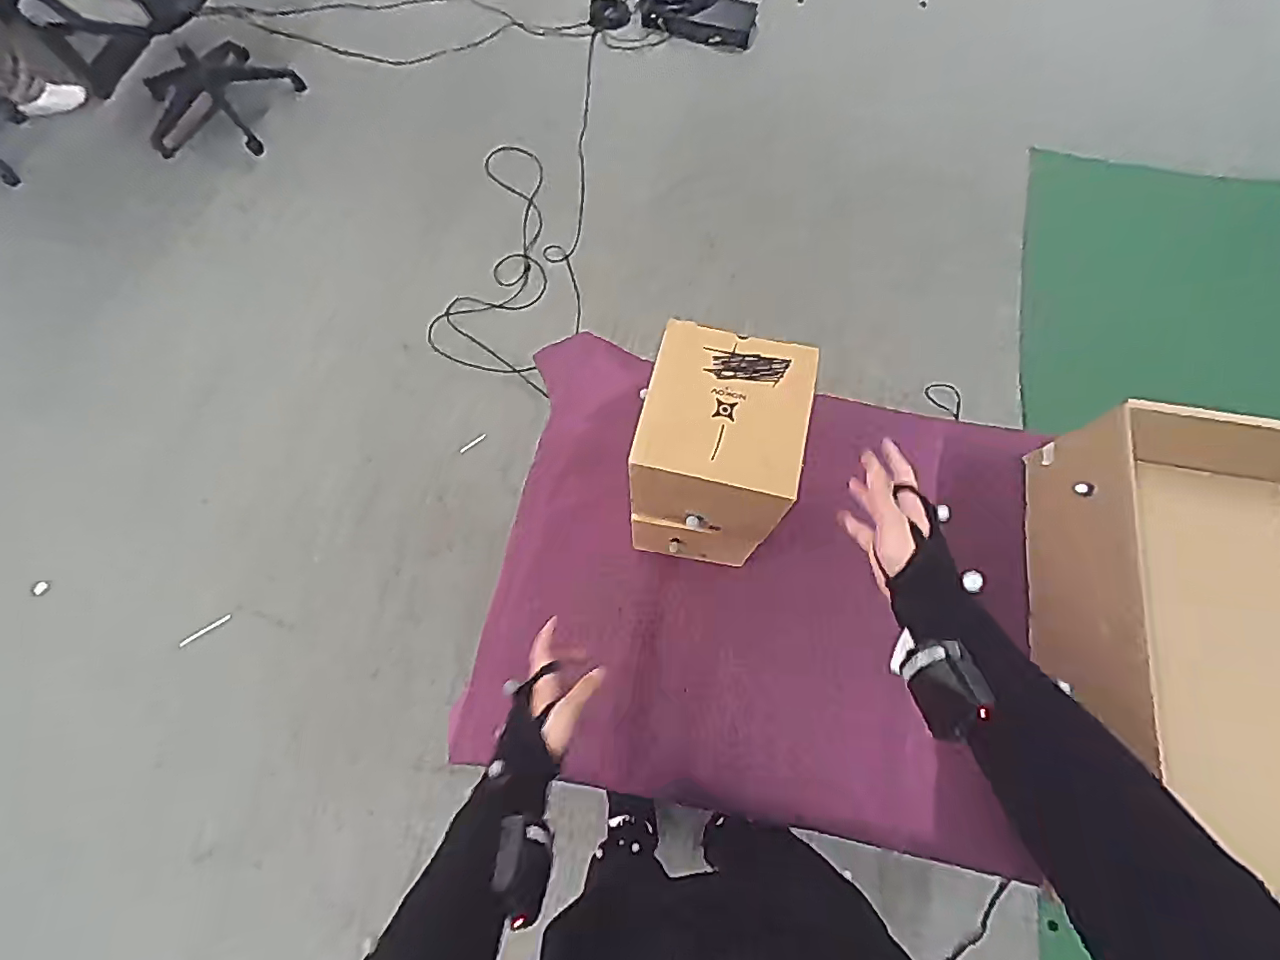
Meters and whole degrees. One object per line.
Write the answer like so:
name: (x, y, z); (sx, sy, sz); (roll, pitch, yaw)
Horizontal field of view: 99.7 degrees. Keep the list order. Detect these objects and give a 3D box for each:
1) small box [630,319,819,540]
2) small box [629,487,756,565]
small box: (0.089, -0.049, 0.619); (0.168, 0.176, 0.179); (13, 70, 6)
small box: (0.084, 0.012, 0.772); (0.168, 0.176, 0.179); (9, 69, 5)
